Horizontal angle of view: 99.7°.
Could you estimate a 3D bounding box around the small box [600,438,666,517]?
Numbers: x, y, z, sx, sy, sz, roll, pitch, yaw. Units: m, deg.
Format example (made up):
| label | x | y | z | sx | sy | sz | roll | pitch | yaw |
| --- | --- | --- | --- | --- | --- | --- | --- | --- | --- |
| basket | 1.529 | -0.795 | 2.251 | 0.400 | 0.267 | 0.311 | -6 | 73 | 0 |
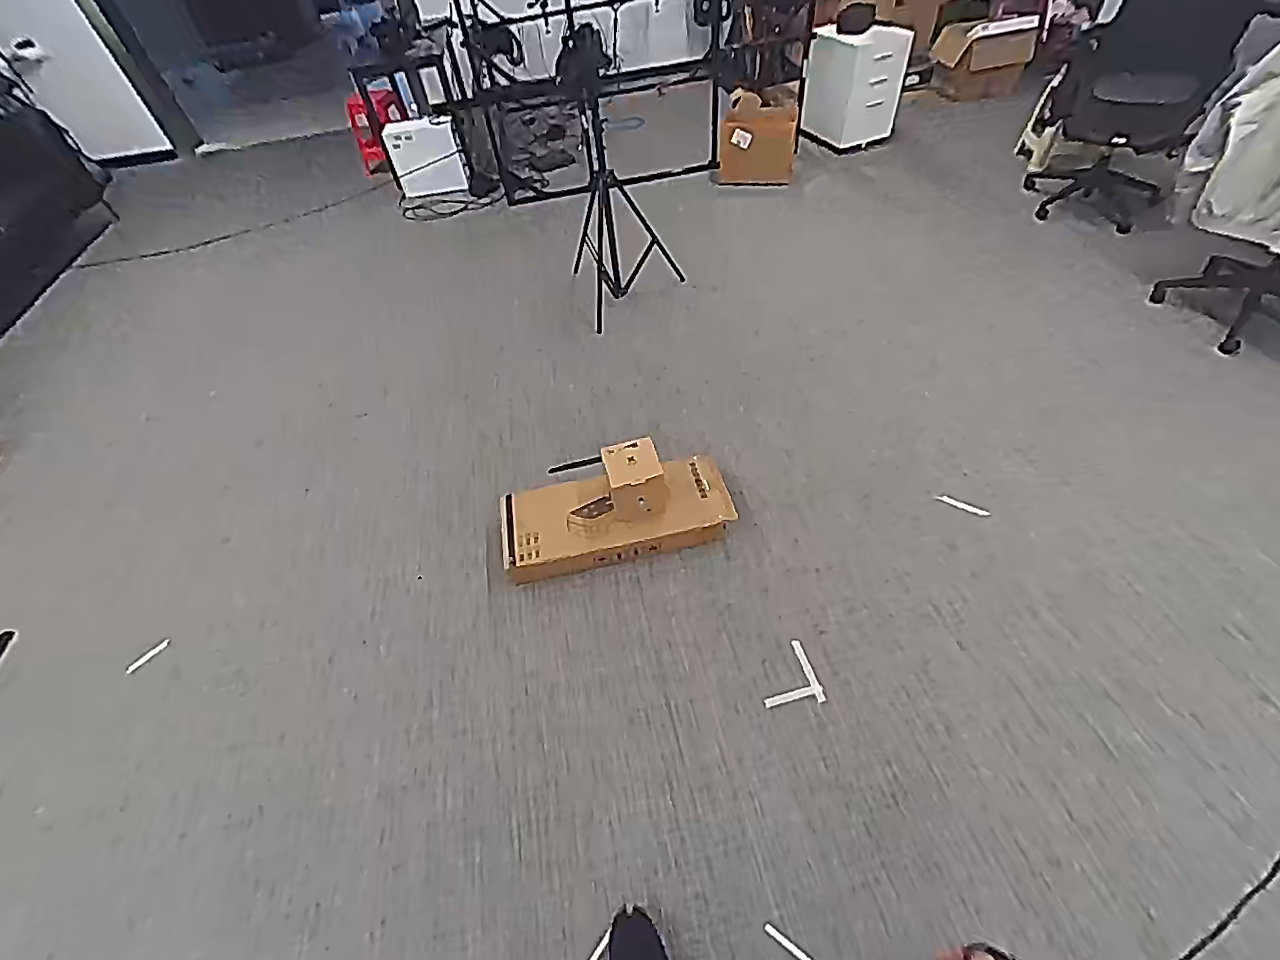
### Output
| label | x | y | z | sx | sy | sz | roll | pitch | yaw |
| --- | --- | --- | --- | --- | --- | --- | --- | --- | --- |
| small box | -0.020 | -0.001 | 1.711 | 0.168 | 0.176 | 0.179 | -14 | 50 | -5 |
